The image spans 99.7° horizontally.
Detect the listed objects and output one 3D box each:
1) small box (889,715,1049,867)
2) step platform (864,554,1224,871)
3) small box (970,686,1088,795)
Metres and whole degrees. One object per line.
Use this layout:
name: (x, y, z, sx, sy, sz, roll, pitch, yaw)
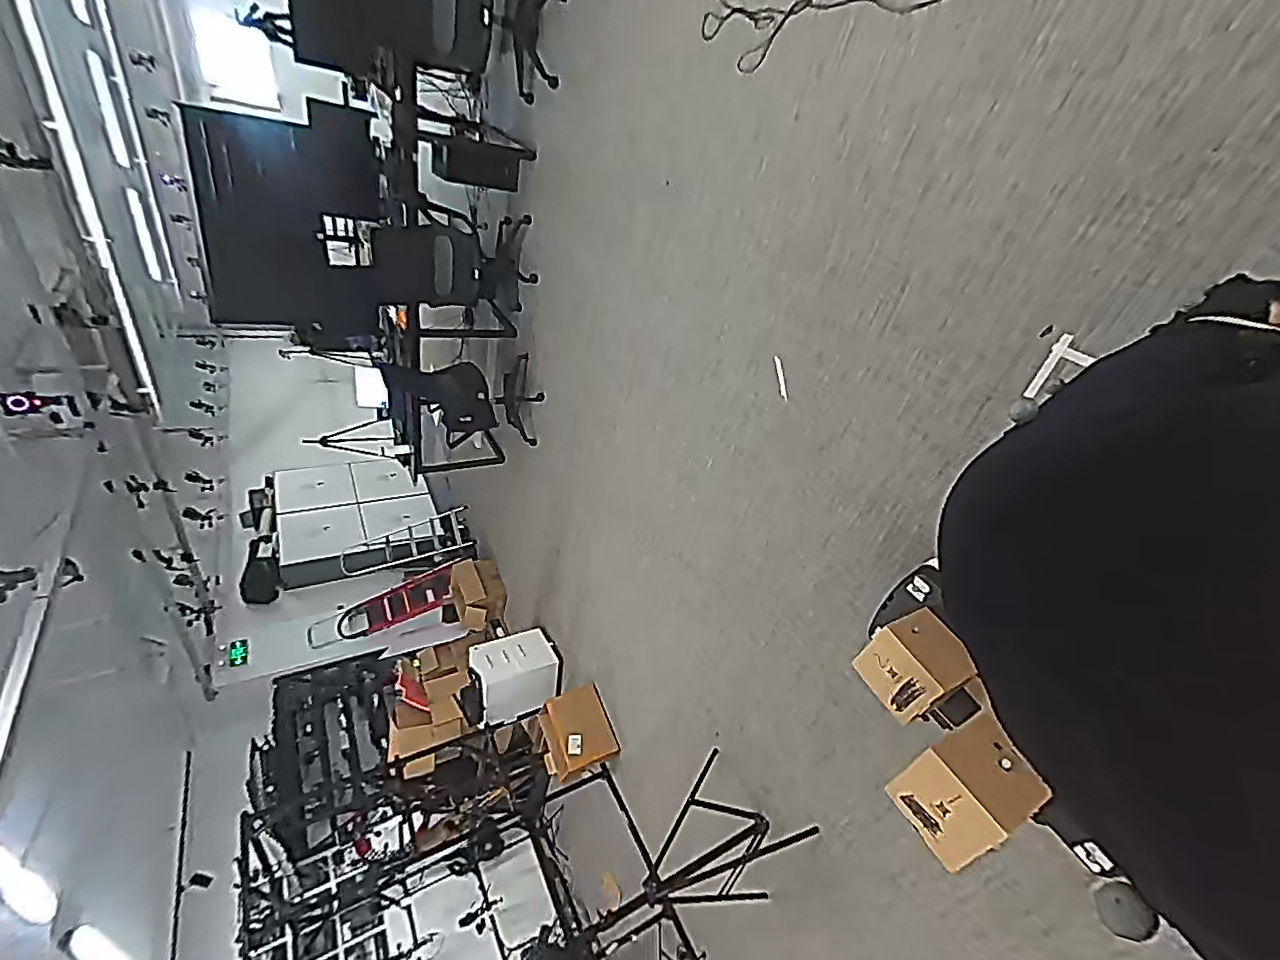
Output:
small box: (0.629, 0.590, 1.036, 0.168, 0.176, 0.179, 52, 139, 39)
step platform: (0.871, 0.502, 1.272, 0.684, 0.204, 0.286, 50, 138, 39)
small box: (0.768, 0.563, 1.120, 0.168, 0.176, 0.179, 52, 139, 38)
